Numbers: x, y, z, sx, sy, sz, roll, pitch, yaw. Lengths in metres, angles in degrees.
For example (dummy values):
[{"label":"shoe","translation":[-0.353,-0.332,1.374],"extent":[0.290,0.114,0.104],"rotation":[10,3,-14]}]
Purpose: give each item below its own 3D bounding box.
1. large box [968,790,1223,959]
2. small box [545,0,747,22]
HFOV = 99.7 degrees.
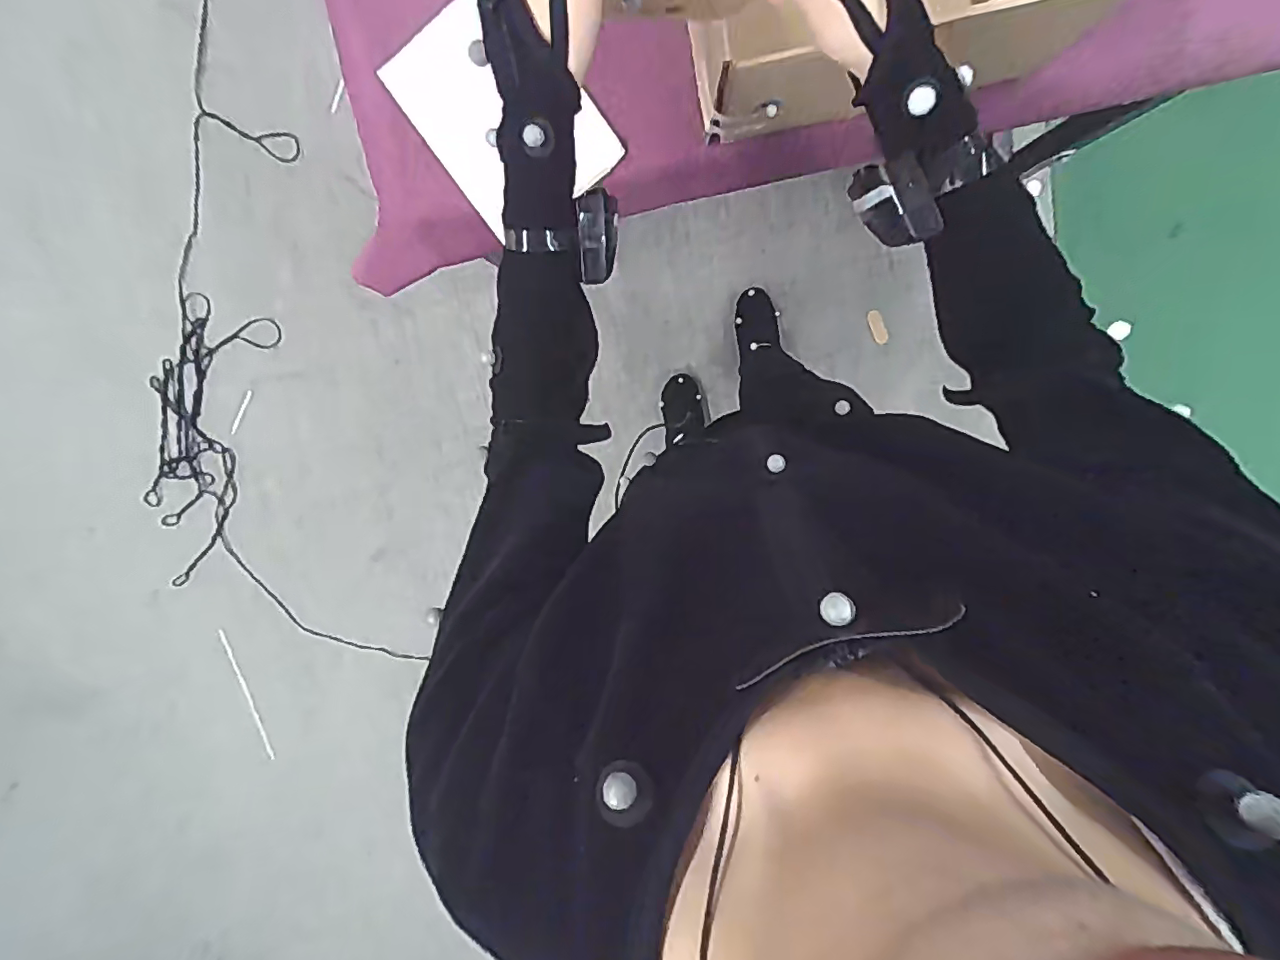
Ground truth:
[{"label":"large box","translation":[1.227,1.156,1.495],"extent":[0.408,0.320,0.320],"rotation":[-26,99,6]},{"label":"small box","translation":[0.009,-0.416,0.336],"extent":[0.168,0.176,0.179],"rotation":[-7,116,-7]}]
